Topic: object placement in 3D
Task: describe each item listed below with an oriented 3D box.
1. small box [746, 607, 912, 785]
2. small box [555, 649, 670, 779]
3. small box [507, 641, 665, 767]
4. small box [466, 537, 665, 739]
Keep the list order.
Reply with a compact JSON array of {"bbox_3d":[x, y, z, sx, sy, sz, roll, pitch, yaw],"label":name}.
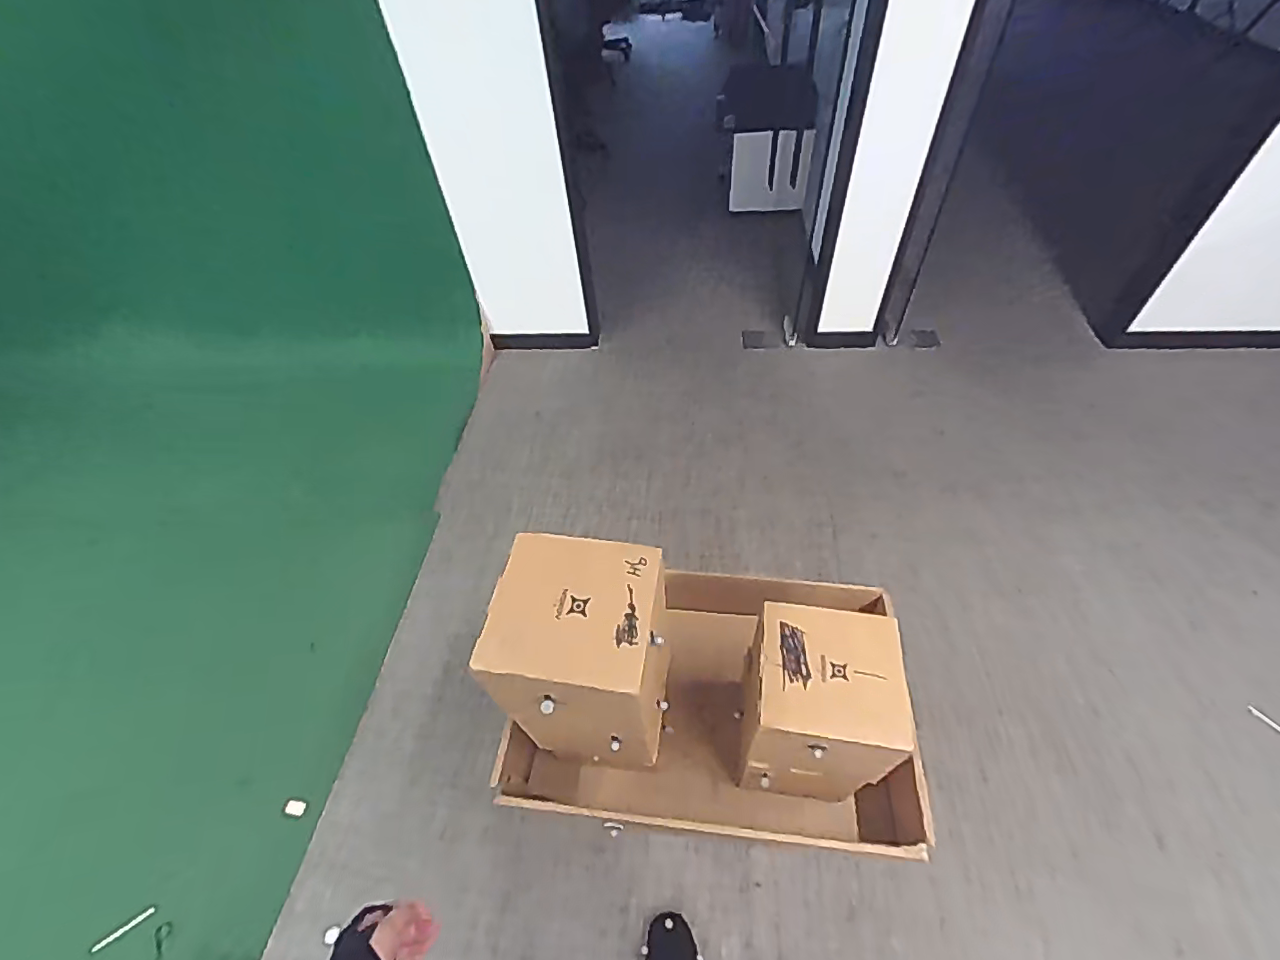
[{"bbox_3d":[0.239,0.292,0.727,0.179,0.176,0.168,6,50,9],"label":"small box"},{"bbox_3d":[-0.048,0.380,0.896,0.179,0.176,0.168,5,51,8],"label":"small box"},{"bbox_3d":[-0.062,0.288,0.762,0.179,0.176,0.168,5,51,8],"label":"small box"},{"bbox_3d":[-0.070,0.187,0.633,0.179,0.176,0.168,5,52,9],"label":"small box"}]
